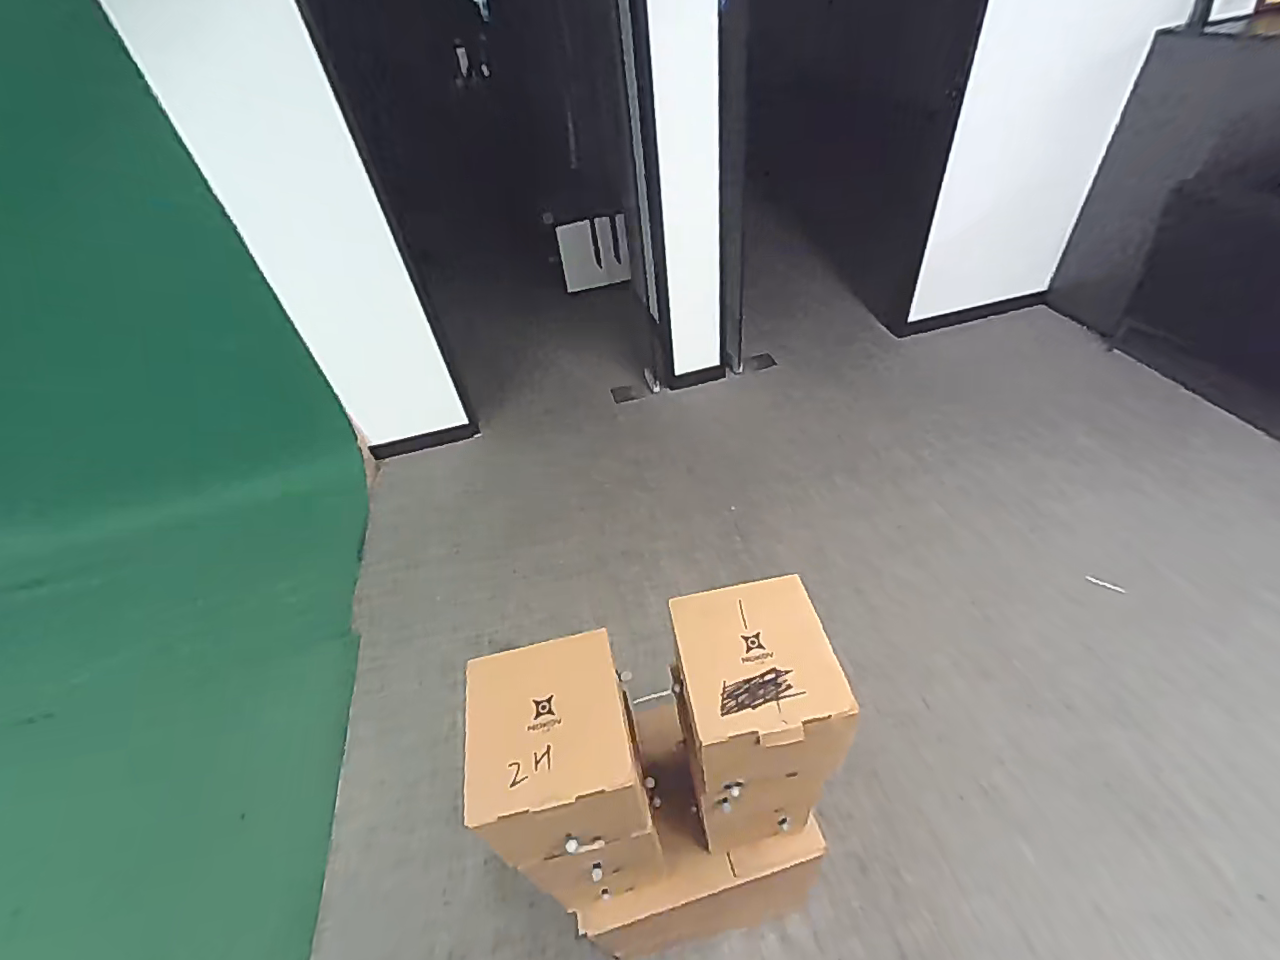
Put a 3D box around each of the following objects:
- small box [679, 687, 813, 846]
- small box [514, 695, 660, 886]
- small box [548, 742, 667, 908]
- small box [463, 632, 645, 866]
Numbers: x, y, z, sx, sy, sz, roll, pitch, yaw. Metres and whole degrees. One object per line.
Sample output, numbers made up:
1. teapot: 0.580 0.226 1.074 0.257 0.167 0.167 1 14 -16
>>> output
1. small box: 0.168 0.473 0.885 0.168 0.176 0.179 -12 43 -3
2. small box: -0.073 0.427 0.738 0.168 0.176 0.179 -13 45 -5
3. small box: -0.058 0.540 0.856 0.168 0.176 0.179 -13 45 -6
4. small box: -0.094 0.309 0.624 0.168 0.176 0.179 -13 45 -4
